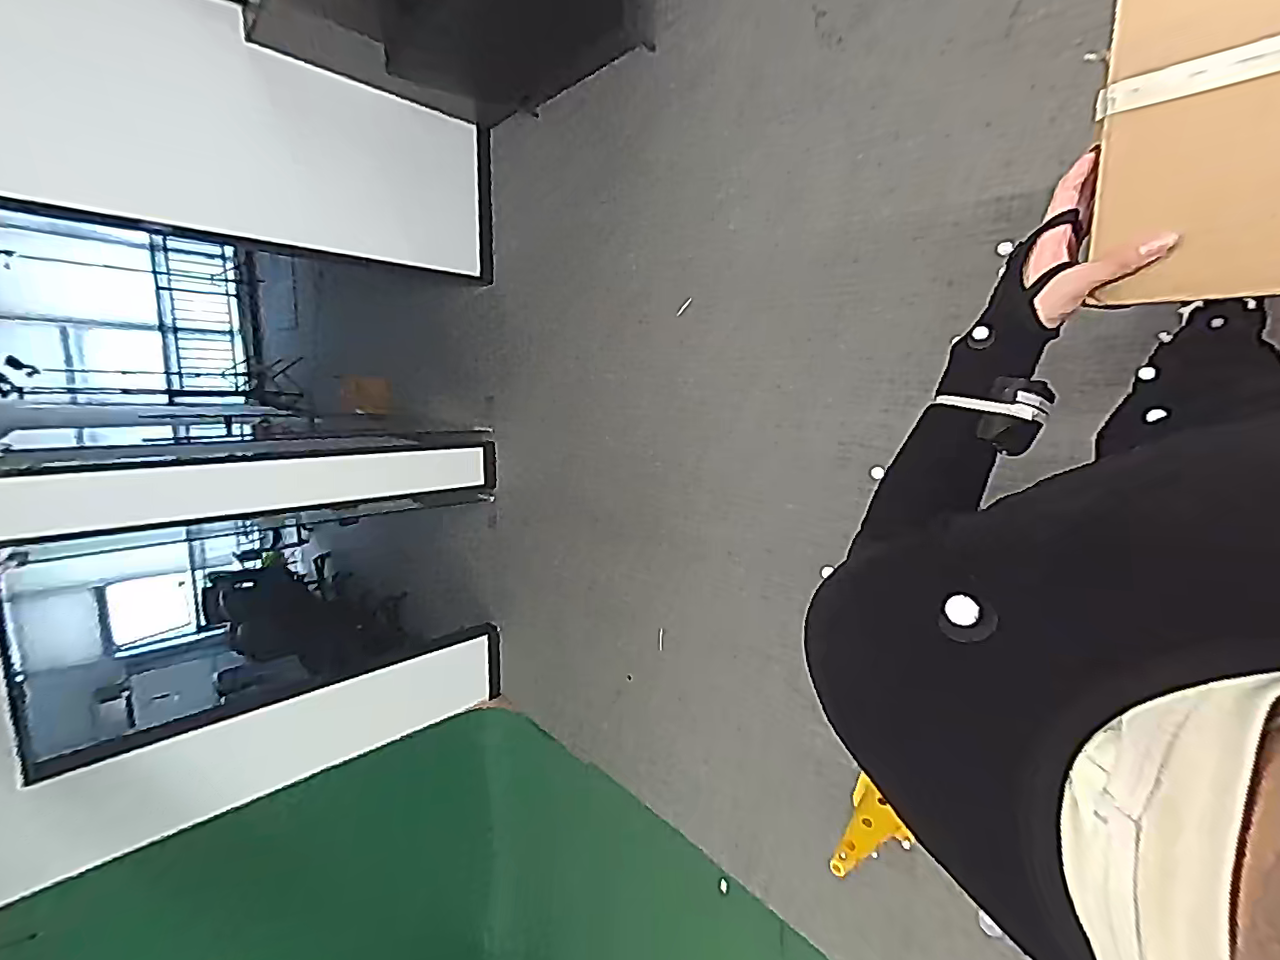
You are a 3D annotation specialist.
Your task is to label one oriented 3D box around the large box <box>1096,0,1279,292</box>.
[{"bbox_3d":[0.616,-0.327,0.379,0.408,0.320,0.320,12,117,46],"label":"large box"}]
